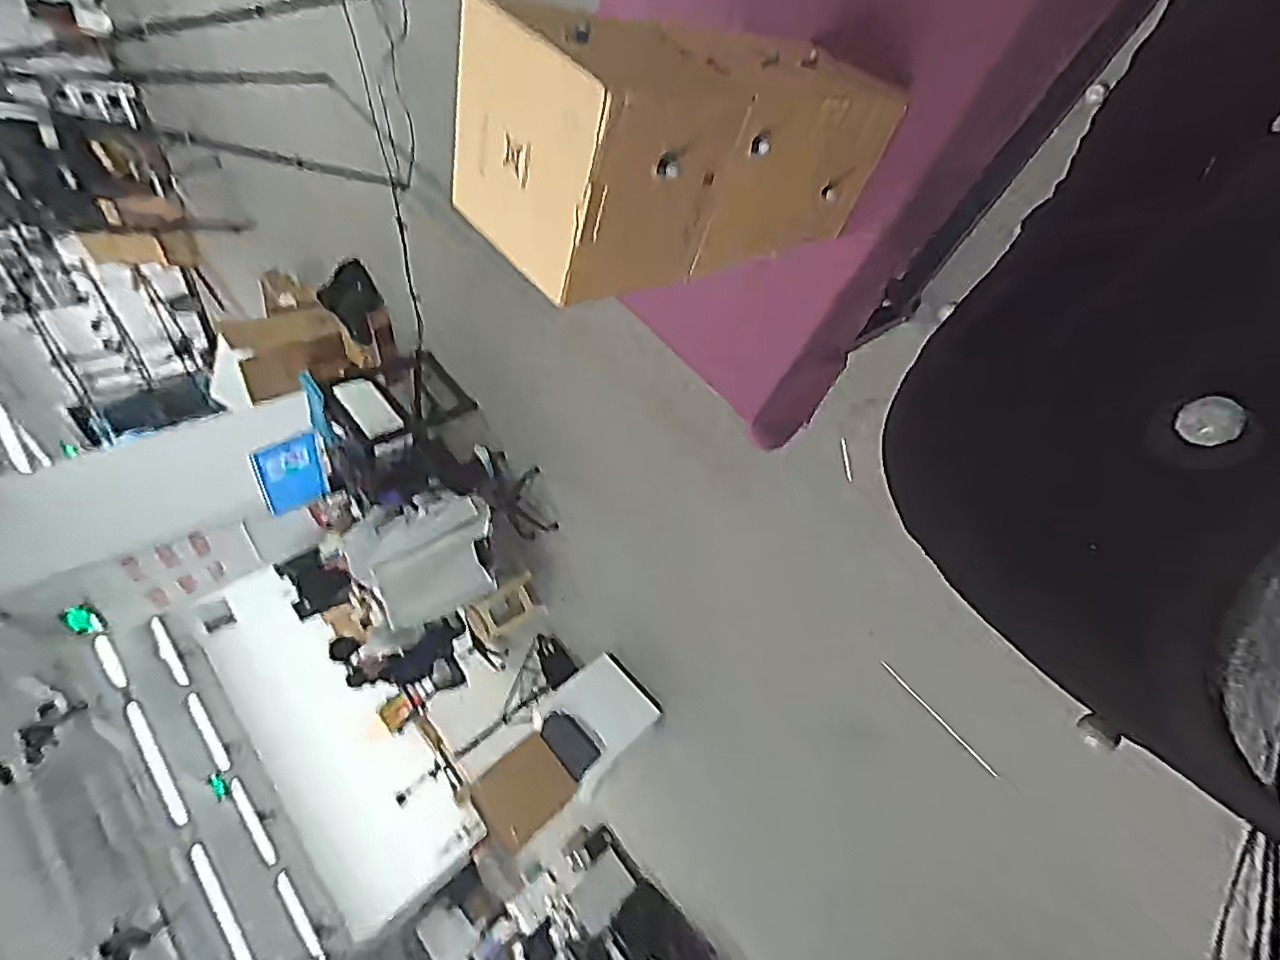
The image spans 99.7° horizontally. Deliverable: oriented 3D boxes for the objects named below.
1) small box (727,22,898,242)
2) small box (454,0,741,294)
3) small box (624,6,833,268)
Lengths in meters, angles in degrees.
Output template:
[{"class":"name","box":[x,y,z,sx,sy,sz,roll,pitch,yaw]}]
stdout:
[{"class":"small box","box":[0.184,-0.429,0.679,0.168,0.176,0.179,46,141,19]},{"class":"small box","box":[-0.043,-0.300,0.485,0.179,0.176,0.168,48,140,18]},{"class":"small box","box":[0.073,-0.361,0.582,0.168,0.176,0.179,46,140,20]}]
